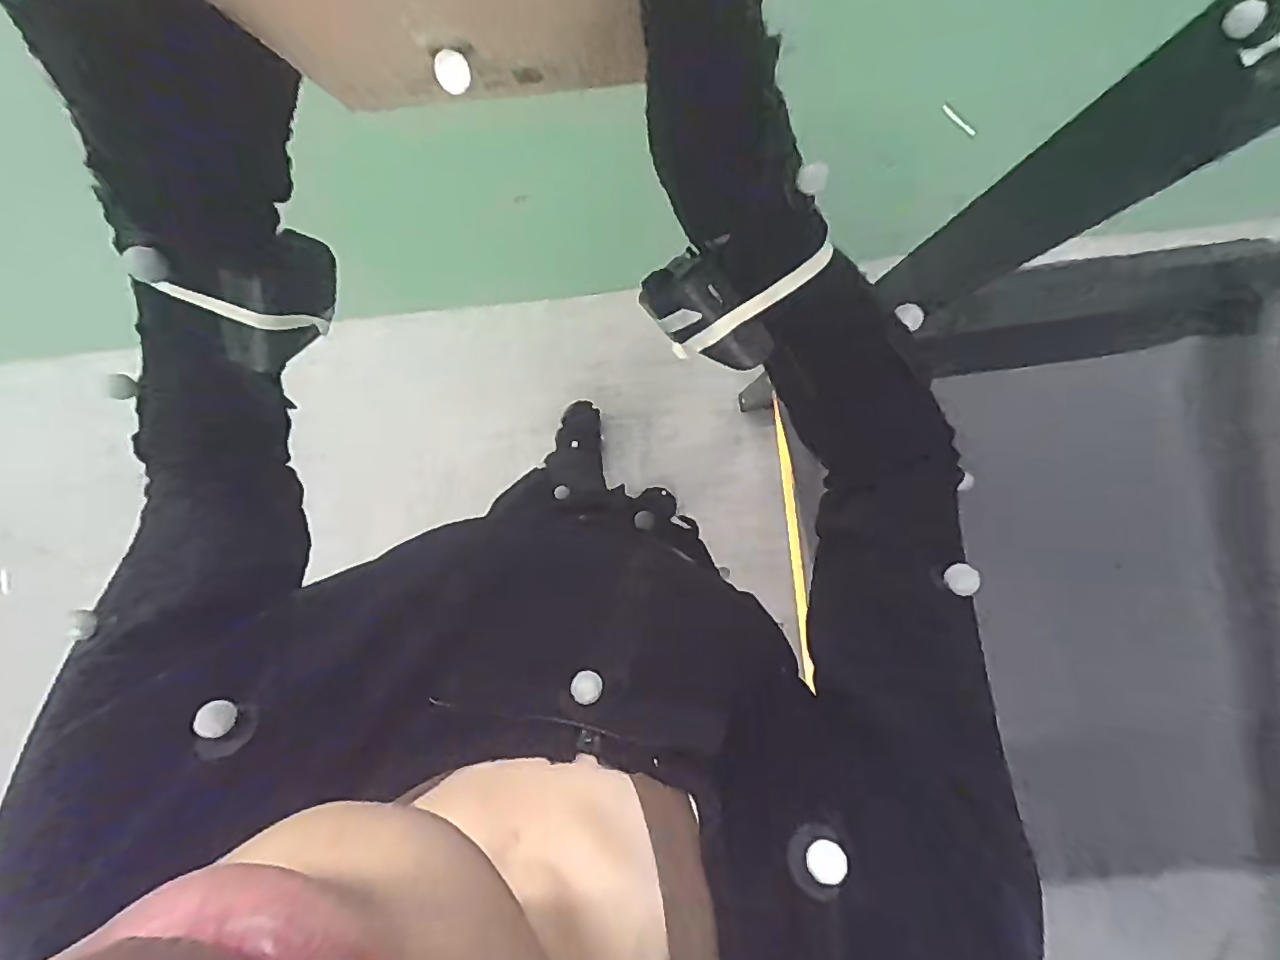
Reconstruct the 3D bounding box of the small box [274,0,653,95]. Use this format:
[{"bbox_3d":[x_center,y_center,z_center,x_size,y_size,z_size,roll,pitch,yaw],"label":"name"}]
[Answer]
[{"bbox_3d":[-0.084,-0.279,0.191,0.168,0.176,0.179,-3,102,5],"label":"small box"}]
